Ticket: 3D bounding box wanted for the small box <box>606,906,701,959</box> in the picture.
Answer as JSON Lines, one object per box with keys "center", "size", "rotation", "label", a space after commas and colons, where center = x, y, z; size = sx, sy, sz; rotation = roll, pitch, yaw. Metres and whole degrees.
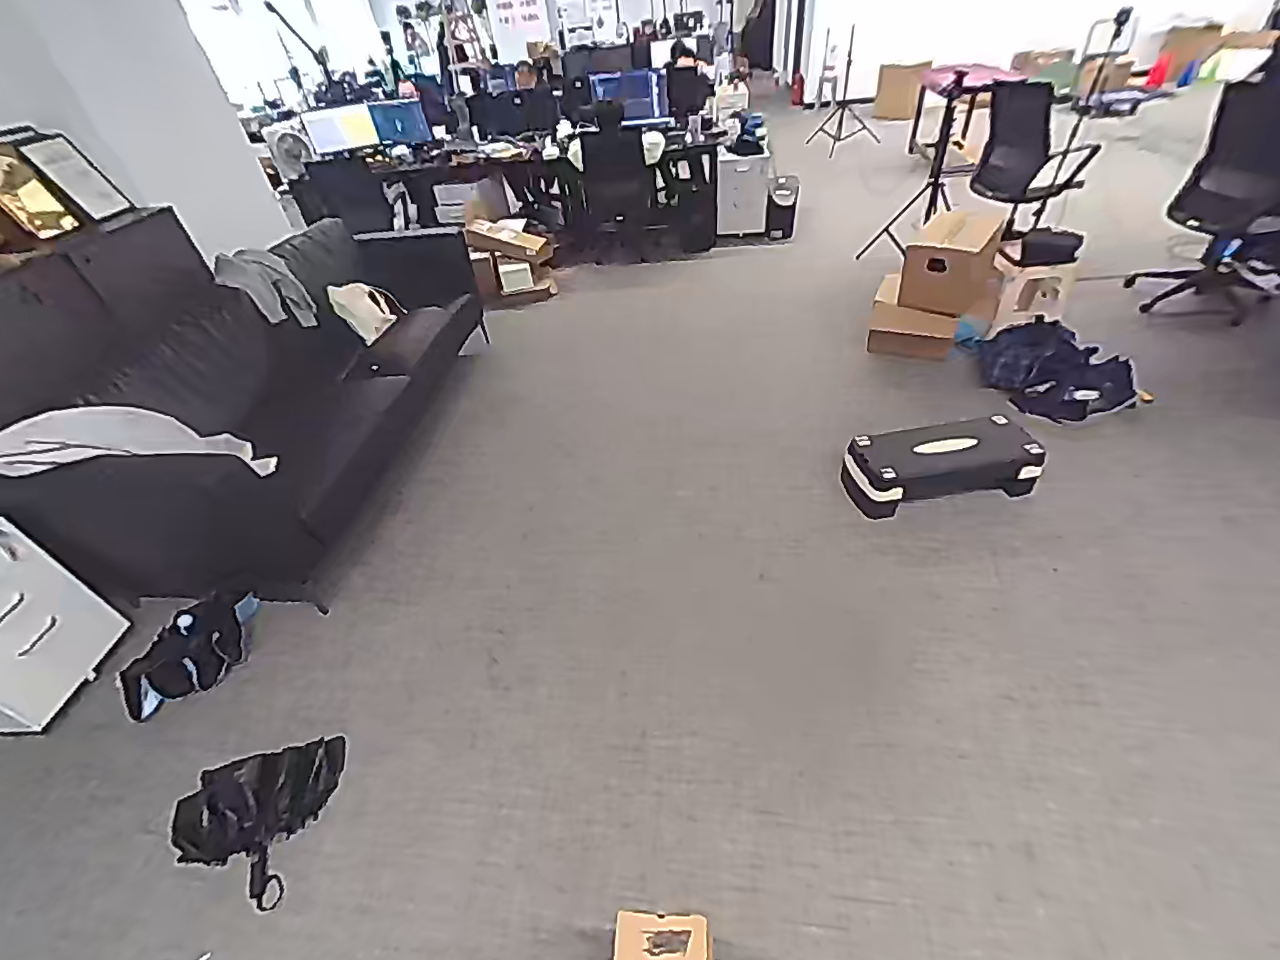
{"center": [0.026, 0.910, 0.986], "size": [0.168, 0.176, 0.179], "rotation": [-2, 42, 7], "label": "small box"}
